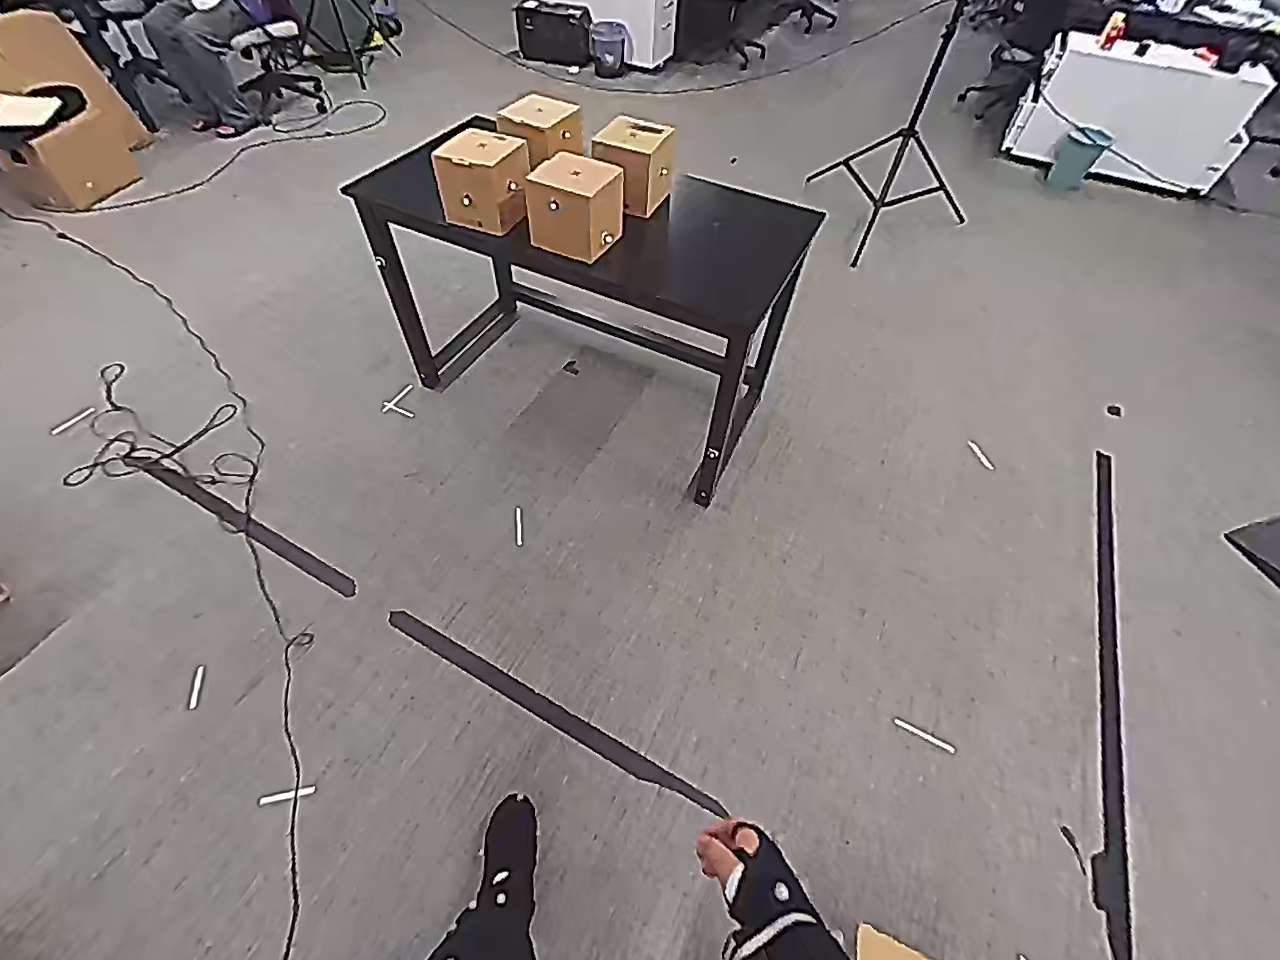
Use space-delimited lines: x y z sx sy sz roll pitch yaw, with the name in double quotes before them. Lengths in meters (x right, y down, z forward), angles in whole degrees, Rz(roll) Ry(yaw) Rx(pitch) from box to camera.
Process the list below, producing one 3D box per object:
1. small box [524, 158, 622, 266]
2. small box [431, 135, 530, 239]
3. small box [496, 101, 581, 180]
"small box" -0.159 -0.652 1.321 0.179 0.176 0.168 23 55 13
"small box" -0.393 -0.743 1.376 0.168 0.176 0.179 18 54 10
"small box" -0.280 -0.935 1.531 0.168 0.176 0.179 24 56 15
